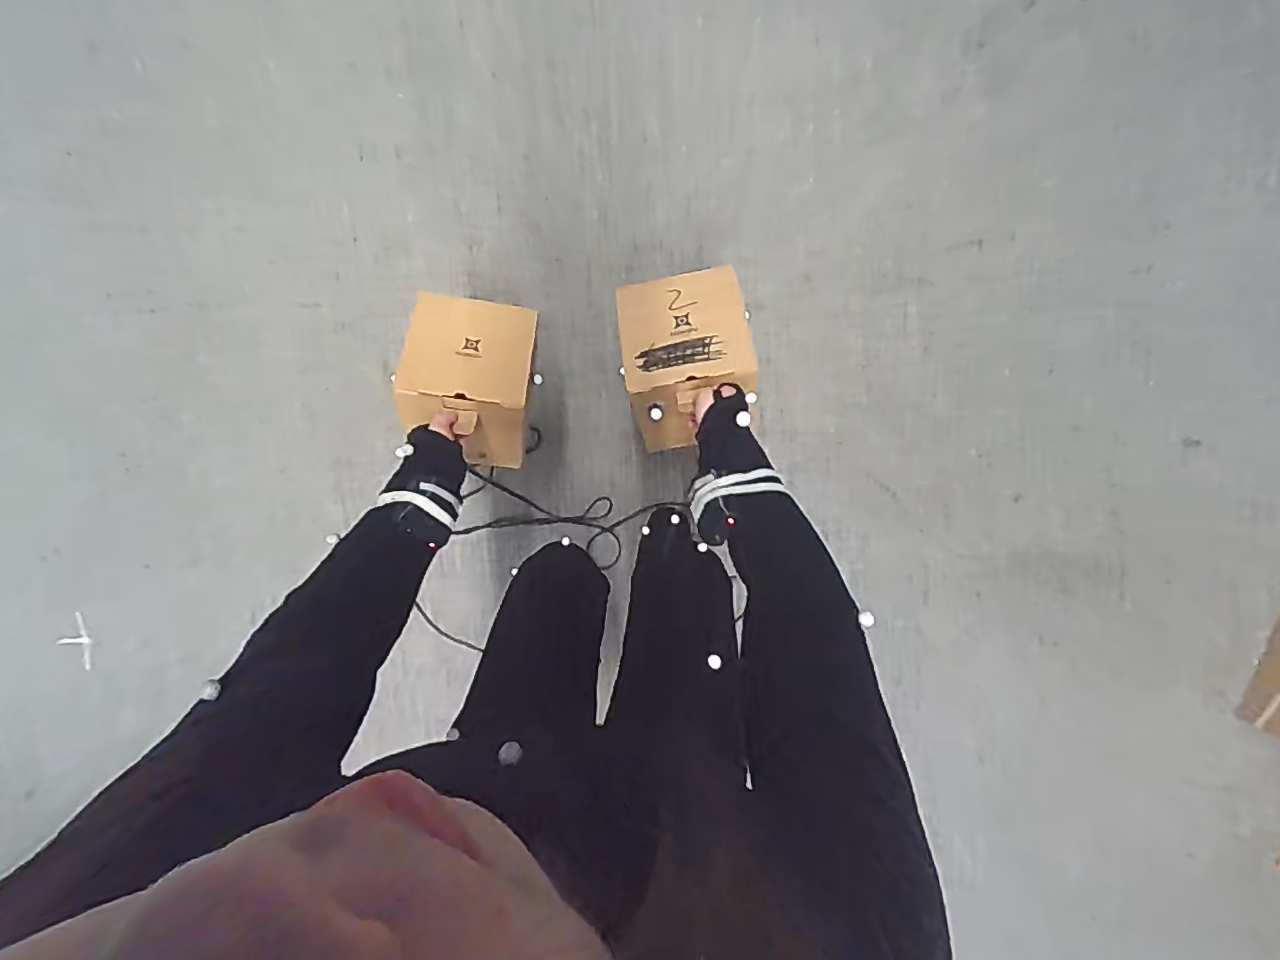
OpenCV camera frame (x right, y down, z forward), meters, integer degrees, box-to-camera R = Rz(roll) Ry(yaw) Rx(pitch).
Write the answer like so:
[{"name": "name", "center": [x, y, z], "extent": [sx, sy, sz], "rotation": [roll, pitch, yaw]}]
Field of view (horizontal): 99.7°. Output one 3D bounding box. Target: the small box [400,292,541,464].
[{"name": "small box", "center": [-0.247, -0.147, 0.818], "extent": [0.168, 0.176, 0.179], "rotation": [7, 62, -10]}]
